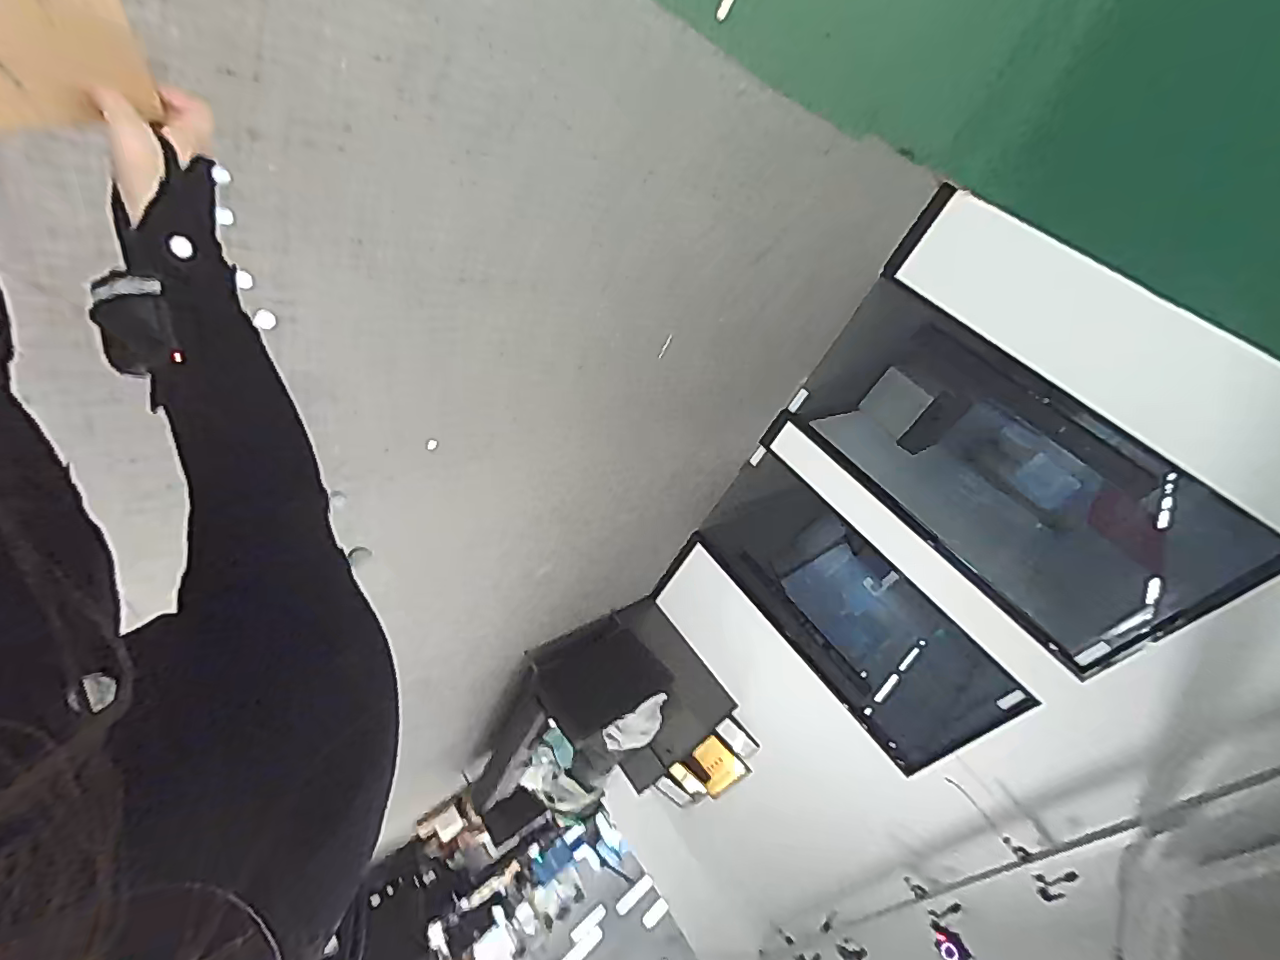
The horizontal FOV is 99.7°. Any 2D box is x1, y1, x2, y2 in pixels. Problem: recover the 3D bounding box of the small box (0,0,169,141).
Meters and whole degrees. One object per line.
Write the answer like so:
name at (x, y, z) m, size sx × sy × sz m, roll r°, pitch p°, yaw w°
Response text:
small box at (-0.460, -0.331, 0.332) m, size 0.179 × 0.176 × 0.168 m, roll -38°, pitch 158°, yaw -36°
